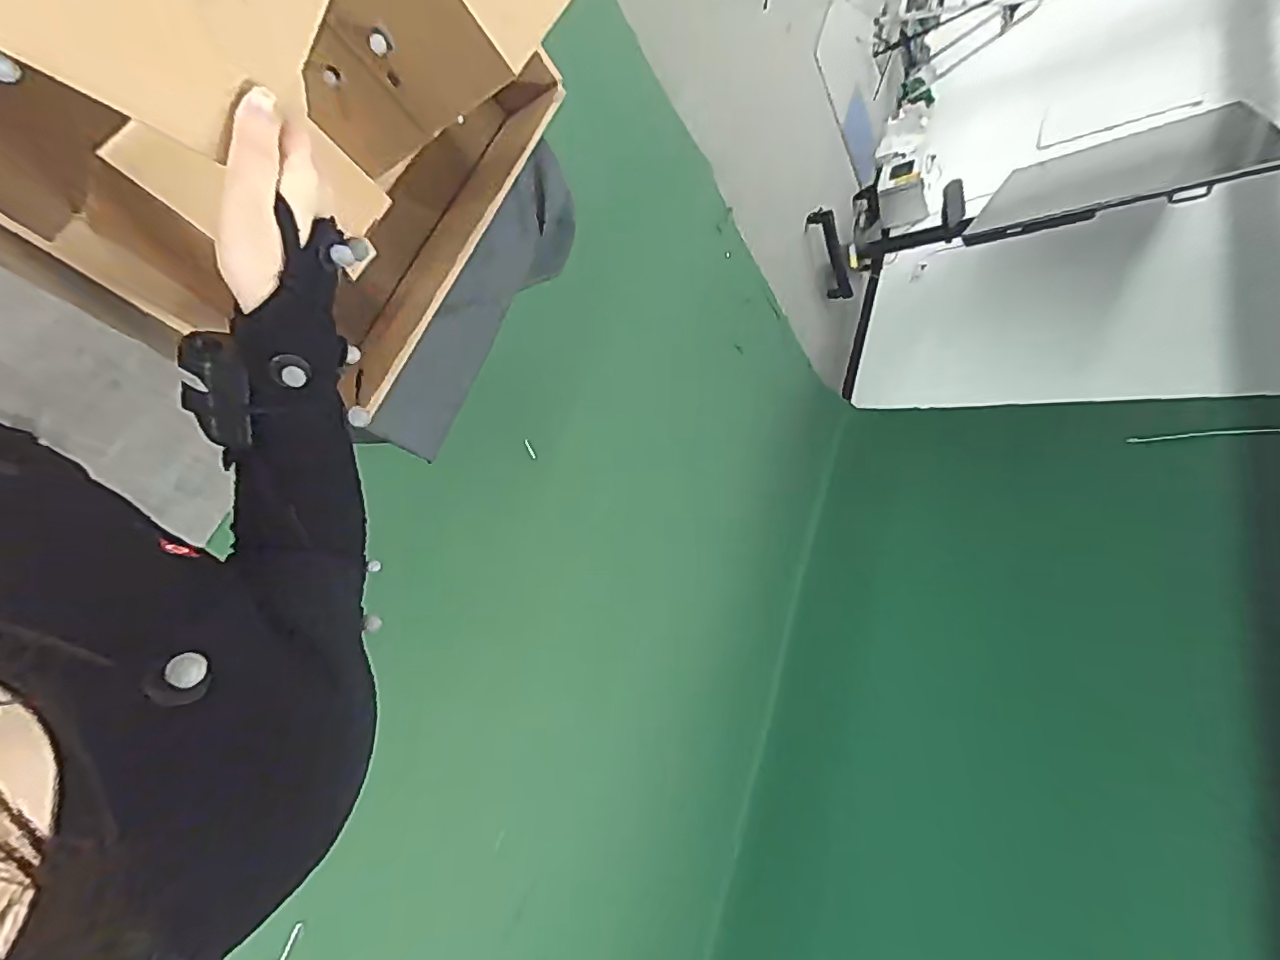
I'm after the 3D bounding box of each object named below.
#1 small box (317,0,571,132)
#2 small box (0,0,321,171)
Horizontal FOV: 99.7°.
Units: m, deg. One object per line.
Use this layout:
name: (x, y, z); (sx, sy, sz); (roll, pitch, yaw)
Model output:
small box: (-0.195, -0.502, 0.543); (0.168, 0.176, 0.179); (42, 64, -42)
small box: (-0.269, -0.286, 0.248); (0.179, 0.176, 0.168); (11, 115, -56)
